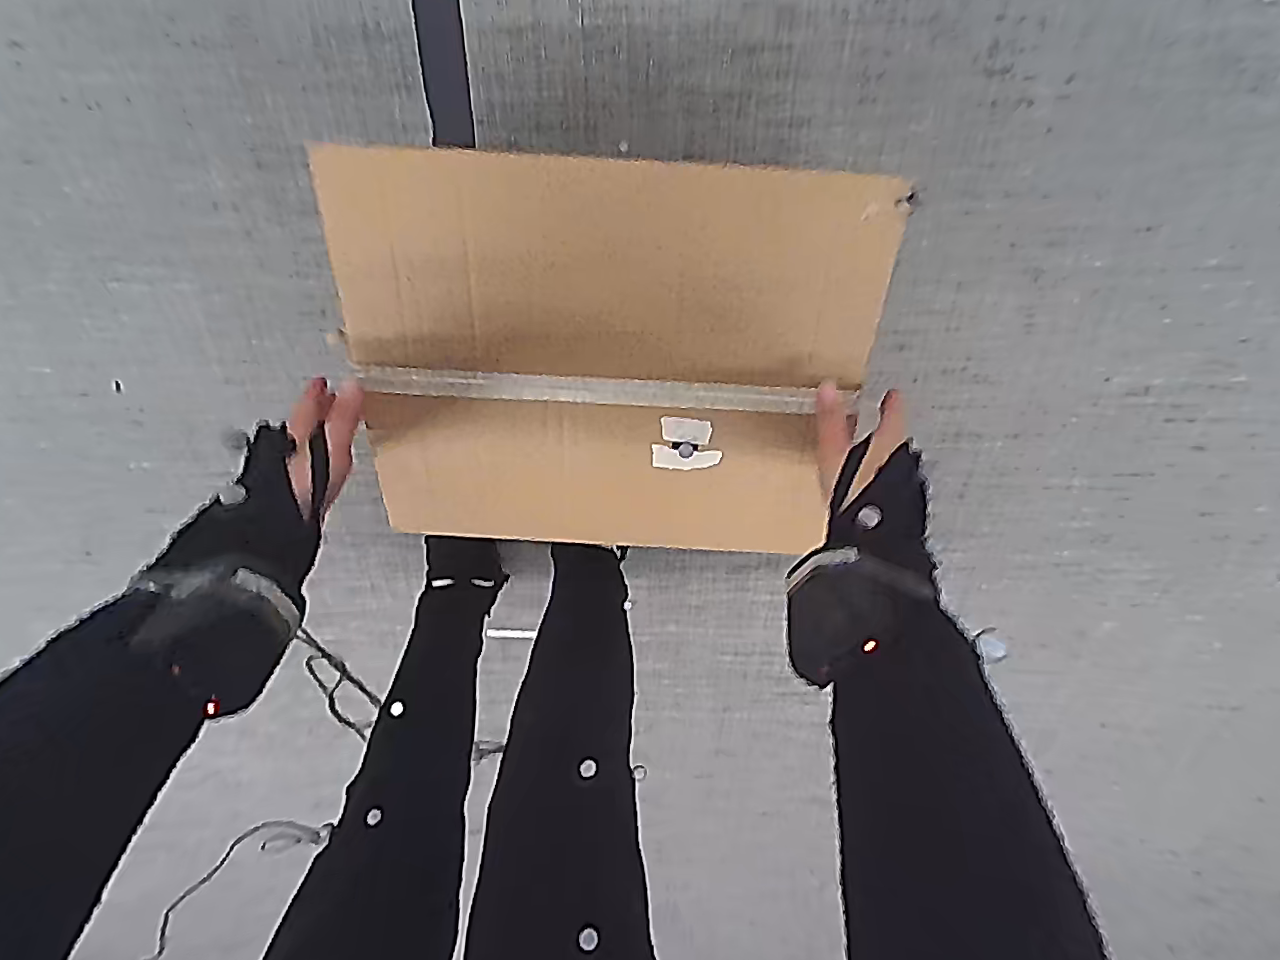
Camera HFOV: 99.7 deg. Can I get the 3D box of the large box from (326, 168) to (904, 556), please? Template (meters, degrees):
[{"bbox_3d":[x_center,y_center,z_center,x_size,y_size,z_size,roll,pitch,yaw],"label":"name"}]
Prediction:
[{"bbox_3d":[-0.022,-0.139,0.568,0.408,0.320,0.320,3,120,-1],"label":"large box"}]
